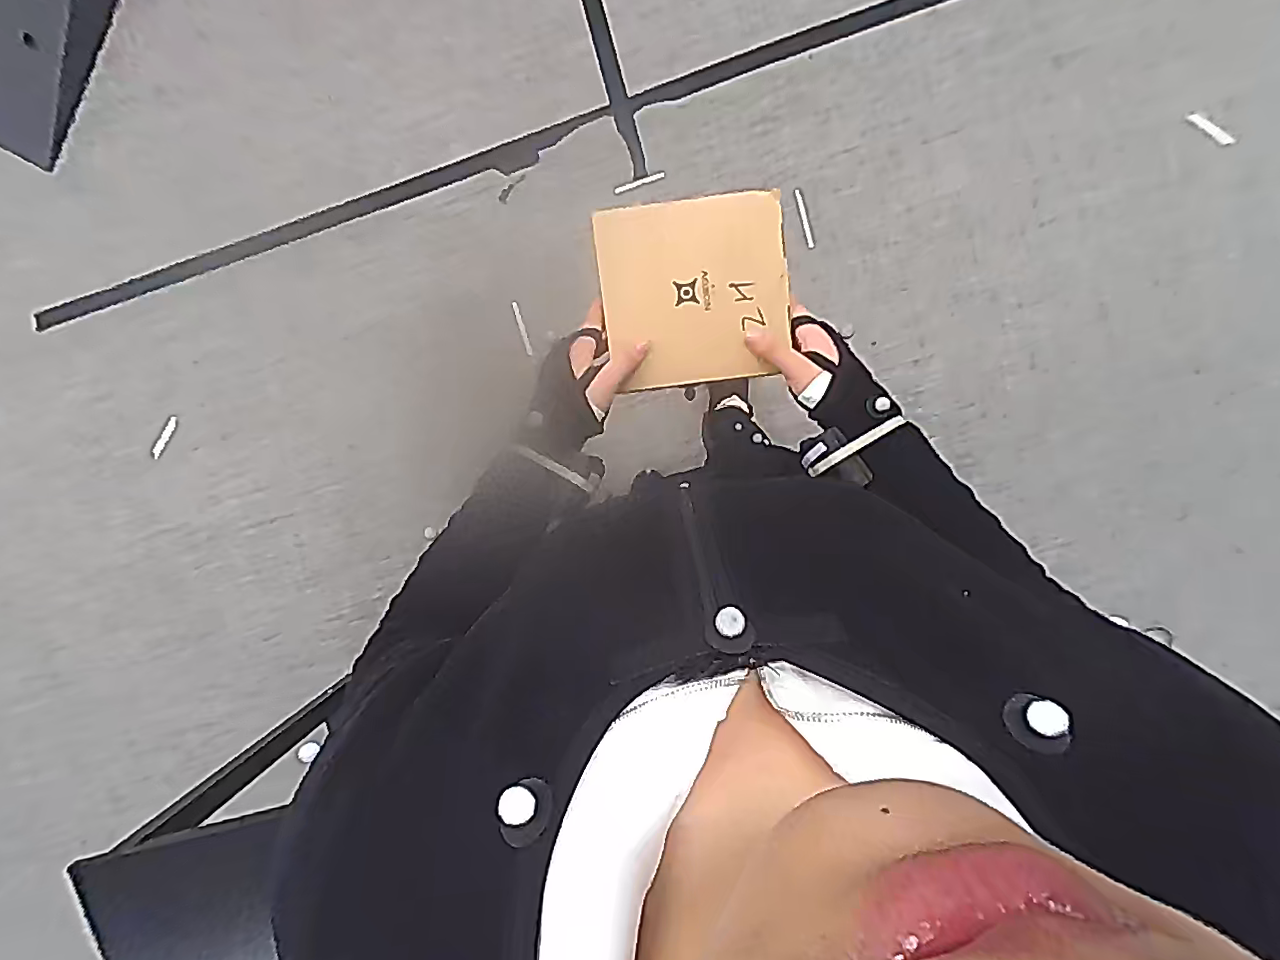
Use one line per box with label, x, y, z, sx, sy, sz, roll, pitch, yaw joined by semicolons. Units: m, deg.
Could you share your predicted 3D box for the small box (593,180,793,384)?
small box;0.051;-0.195;0.580;0.179;0.176;0.168;-7;100;0
